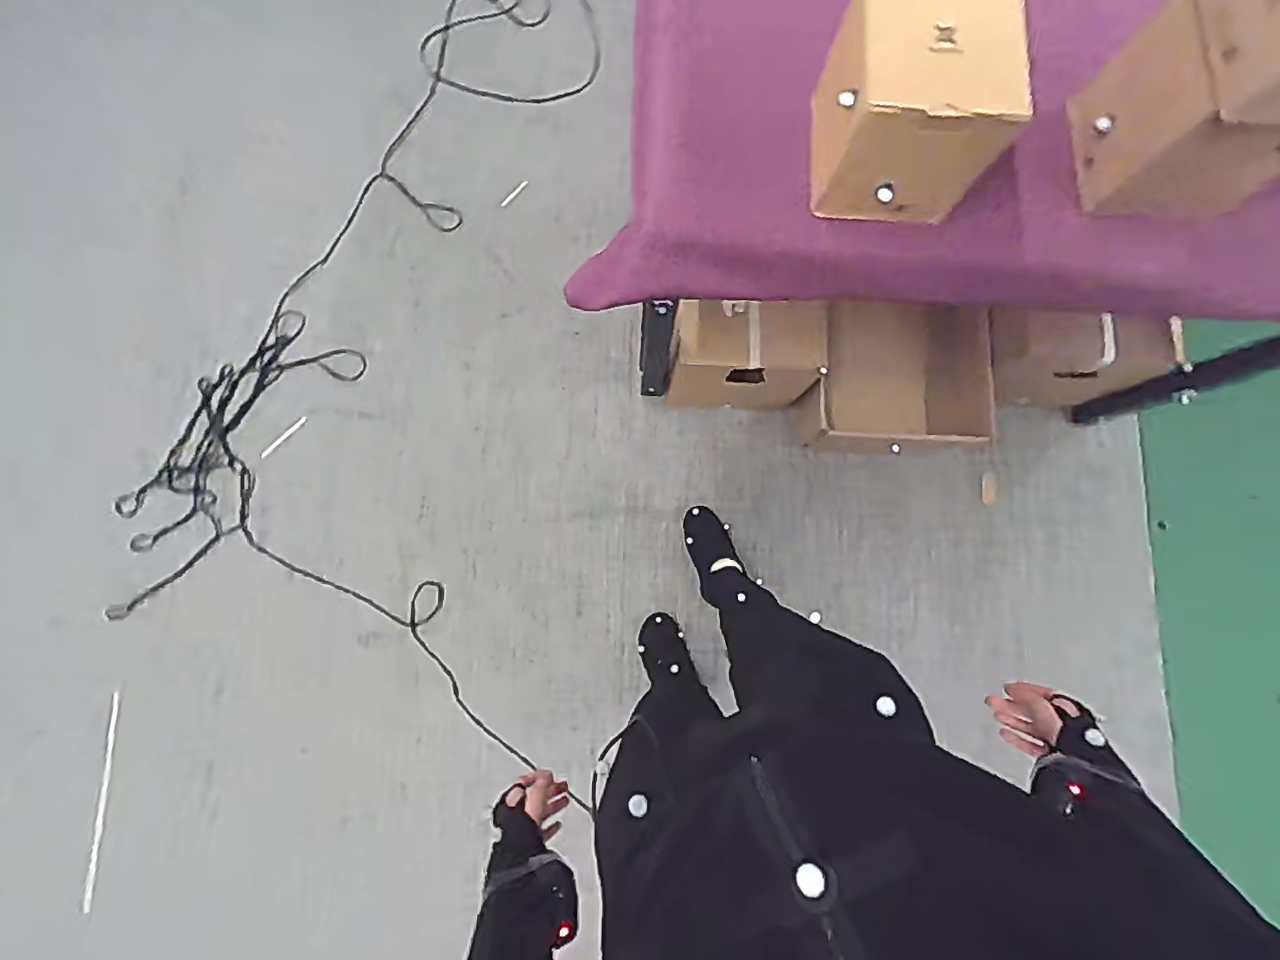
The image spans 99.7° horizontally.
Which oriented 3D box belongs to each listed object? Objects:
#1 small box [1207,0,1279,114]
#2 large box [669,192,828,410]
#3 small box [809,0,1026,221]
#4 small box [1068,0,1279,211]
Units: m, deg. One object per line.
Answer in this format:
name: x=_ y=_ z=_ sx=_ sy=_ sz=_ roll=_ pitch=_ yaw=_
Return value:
small box: x=0.650 y=-0.448 z=0.463 sx=0.179 sy=0.176 sz=0.168 roll=0 pitch=81 yaw=0
large box: x=0.236 y=-0.403 z=1.290 sx=0.320 sy=0.320 sz=0.408 roll=2 pitch=82 yaw=-1
small box: x=0.302 y=-0.435 z=0.626 sx=0.168 sy=0.176 sz=0.179 roll=2 pitch=81 yaw=-1
small box: x=0.654 y=-0.439 z=0.628 sx=0.179 sy=0.176 sz=0.168 roll=1 pitch=80 yaw=0
